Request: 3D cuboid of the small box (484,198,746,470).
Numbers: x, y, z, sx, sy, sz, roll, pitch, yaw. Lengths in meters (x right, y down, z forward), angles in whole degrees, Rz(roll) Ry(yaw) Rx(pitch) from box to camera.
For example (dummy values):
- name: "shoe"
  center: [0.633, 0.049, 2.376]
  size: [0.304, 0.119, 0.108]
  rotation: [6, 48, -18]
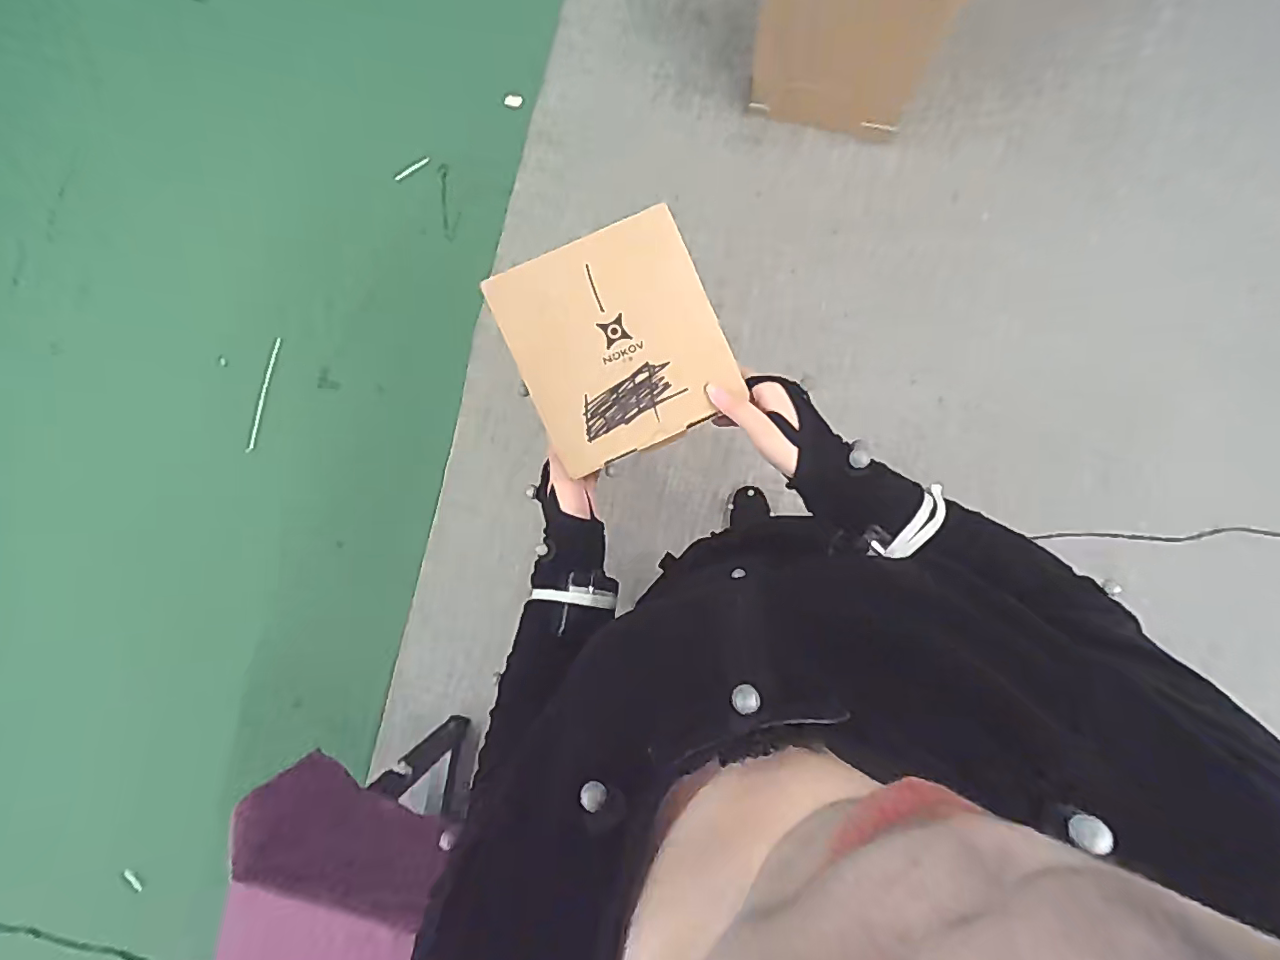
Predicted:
- name: "small box"
  center: [-0.021, -0.121, 0.517]
  size: [0.168, 0.176, 0.179]
  rotation: [-24, 92, -2]
